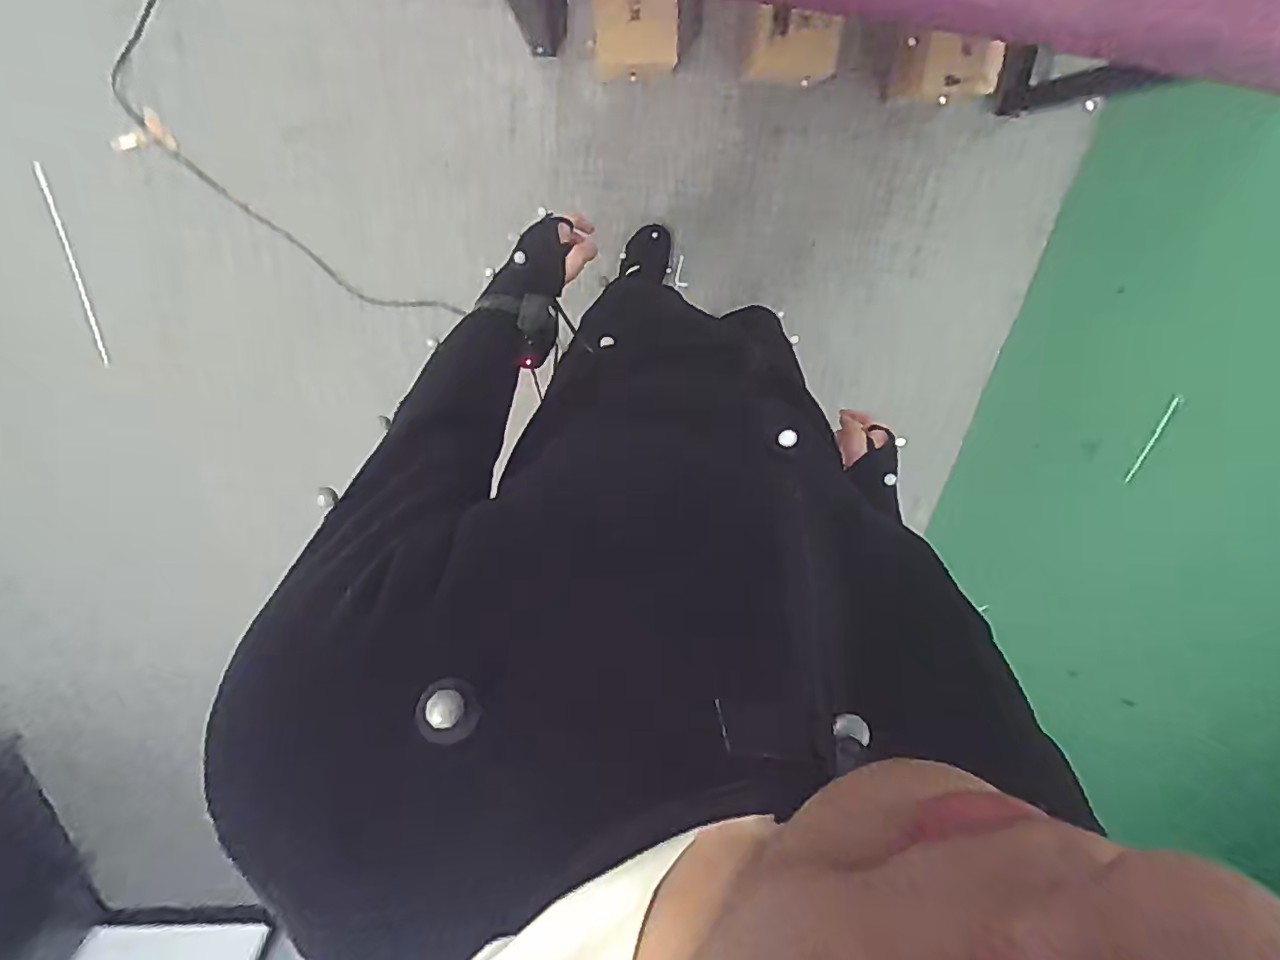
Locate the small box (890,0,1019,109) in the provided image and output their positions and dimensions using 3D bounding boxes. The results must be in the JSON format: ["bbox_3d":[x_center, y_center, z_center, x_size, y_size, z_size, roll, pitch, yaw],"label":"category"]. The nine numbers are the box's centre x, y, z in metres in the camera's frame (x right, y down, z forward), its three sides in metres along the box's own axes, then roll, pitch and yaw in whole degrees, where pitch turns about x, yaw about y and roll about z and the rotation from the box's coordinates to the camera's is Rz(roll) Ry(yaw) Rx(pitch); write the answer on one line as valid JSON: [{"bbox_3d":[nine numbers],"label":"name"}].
[{"bbox_3d":[0.678,-0.938,1.190,0.168,0.176,0.179,-2,117,-4],"label":"small box"}]

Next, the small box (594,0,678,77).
[{"bbox_3d":[-0.011,-0.960,1.128,0.168,0.176,0.179,-4,117,-2],"label":"small box"}]
